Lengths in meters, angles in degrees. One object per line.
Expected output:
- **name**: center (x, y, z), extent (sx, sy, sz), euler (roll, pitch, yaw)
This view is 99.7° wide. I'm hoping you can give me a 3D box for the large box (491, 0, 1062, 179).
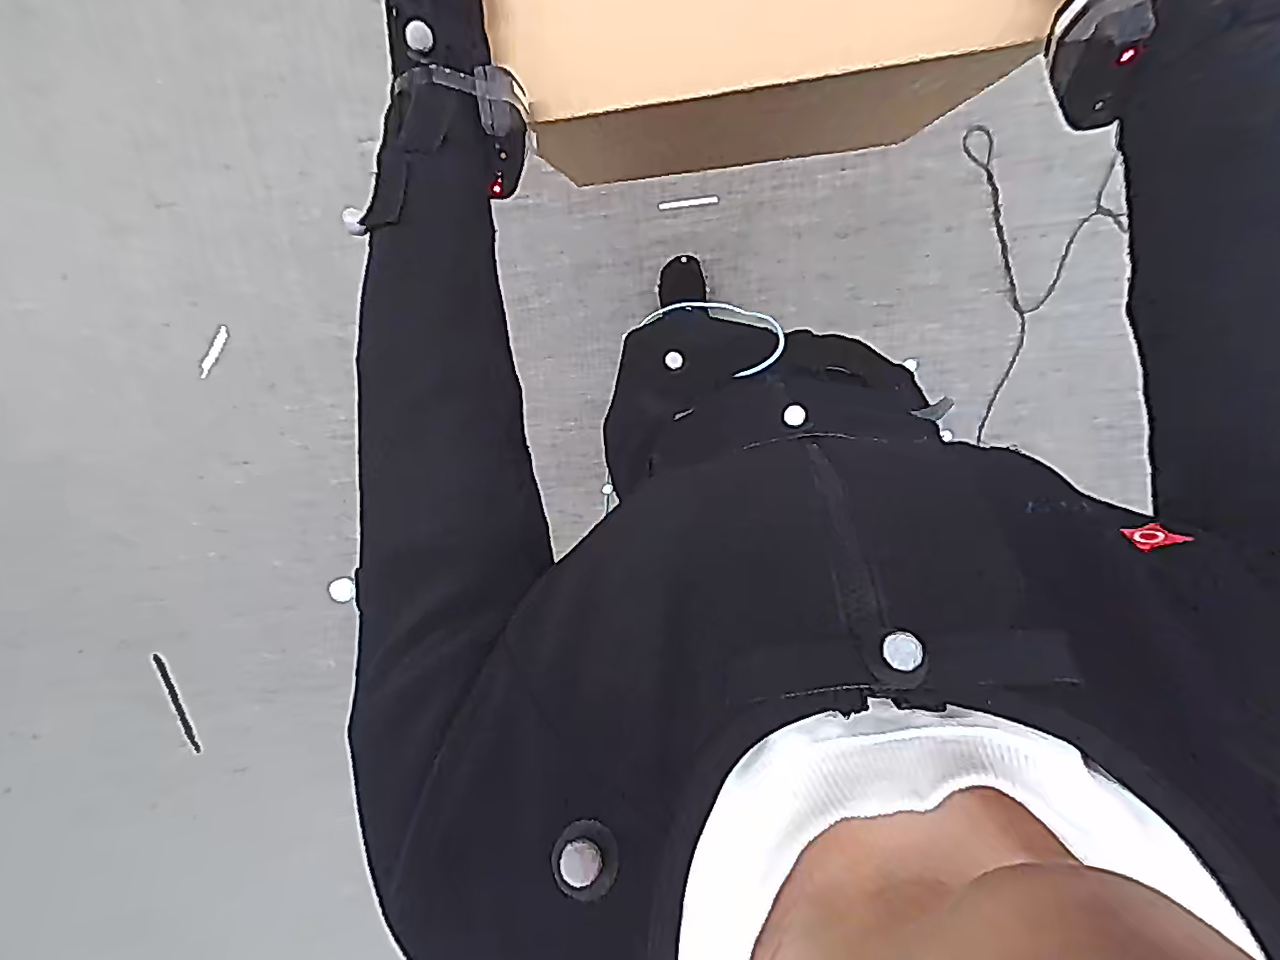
- **large box**: center (0.085, -0.494, 0.482), extent (0.408, 0.320, 0.320), euler (-5, 111, 6)
